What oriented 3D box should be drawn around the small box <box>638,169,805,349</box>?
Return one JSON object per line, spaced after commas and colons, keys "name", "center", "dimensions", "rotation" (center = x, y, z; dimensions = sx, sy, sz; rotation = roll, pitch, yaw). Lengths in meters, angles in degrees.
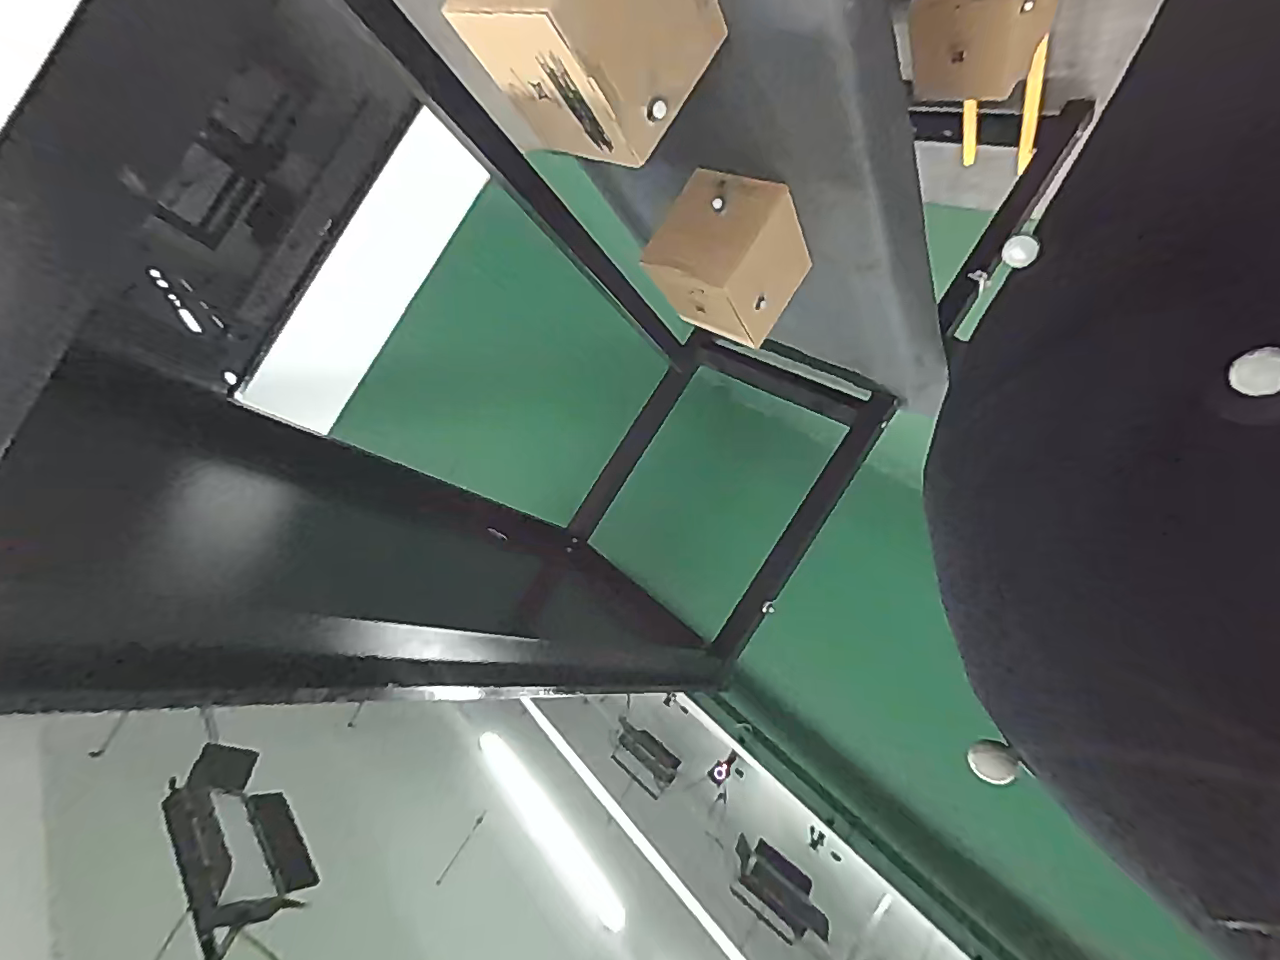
{"name": "small box", "center": [0.134, -0.339, 0.840], "dimensions": [0.168, 0.176, 0.179], "rotation": [33, -179, 33]}
